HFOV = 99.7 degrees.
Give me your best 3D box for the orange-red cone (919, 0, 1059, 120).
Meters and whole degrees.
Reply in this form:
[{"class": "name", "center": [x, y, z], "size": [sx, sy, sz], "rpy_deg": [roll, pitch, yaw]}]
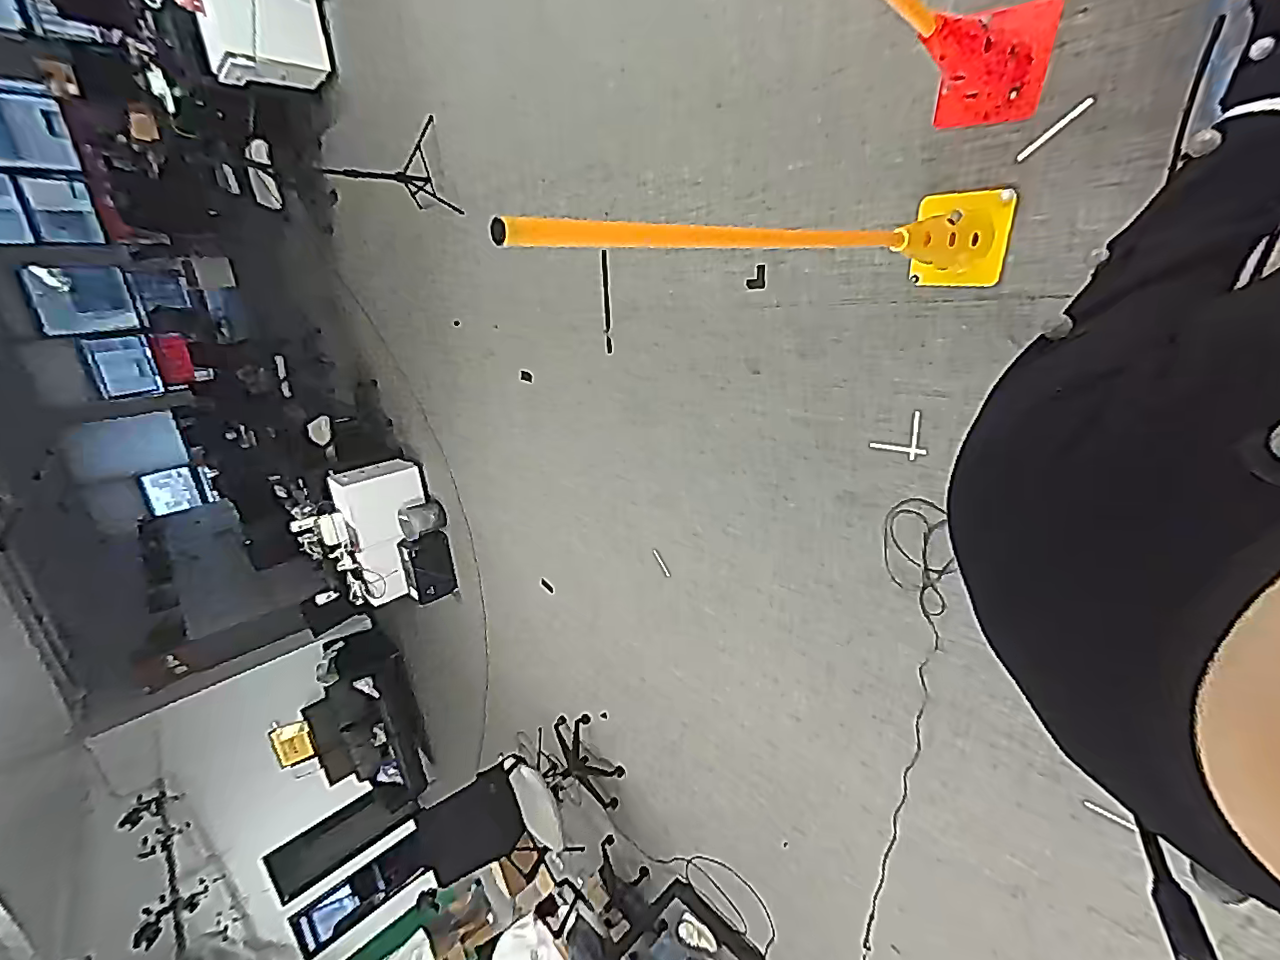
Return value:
[{"class": "orange-red cone", "center": [0.604, -0.821, 1.009], "size": [0.198, 0.360, 0.199], "rpy_deg": [25, 123, 39]}]
